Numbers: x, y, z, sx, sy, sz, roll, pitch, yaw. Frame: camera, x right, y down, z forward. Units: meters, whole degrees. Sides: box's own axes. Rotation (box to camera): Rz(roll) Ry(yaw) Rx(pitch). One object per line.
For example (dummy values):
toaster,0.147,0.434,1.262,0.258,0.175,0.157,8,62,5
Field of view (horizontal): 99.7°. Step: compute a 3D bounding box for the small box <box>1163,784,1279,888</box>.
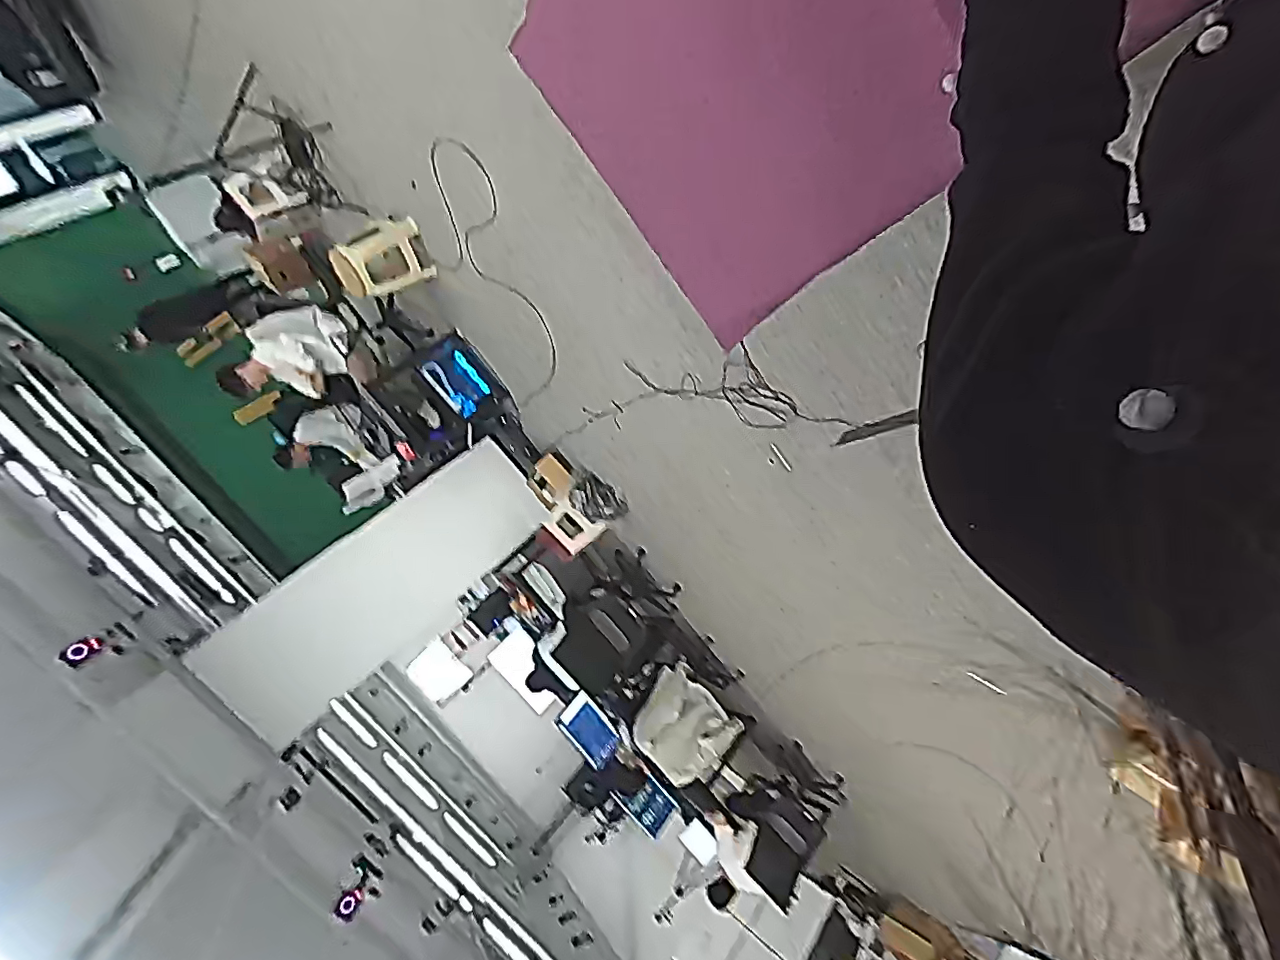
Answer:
small box,1.583,0.957,1.461,0.168,0.176,0.179,33,150,25
